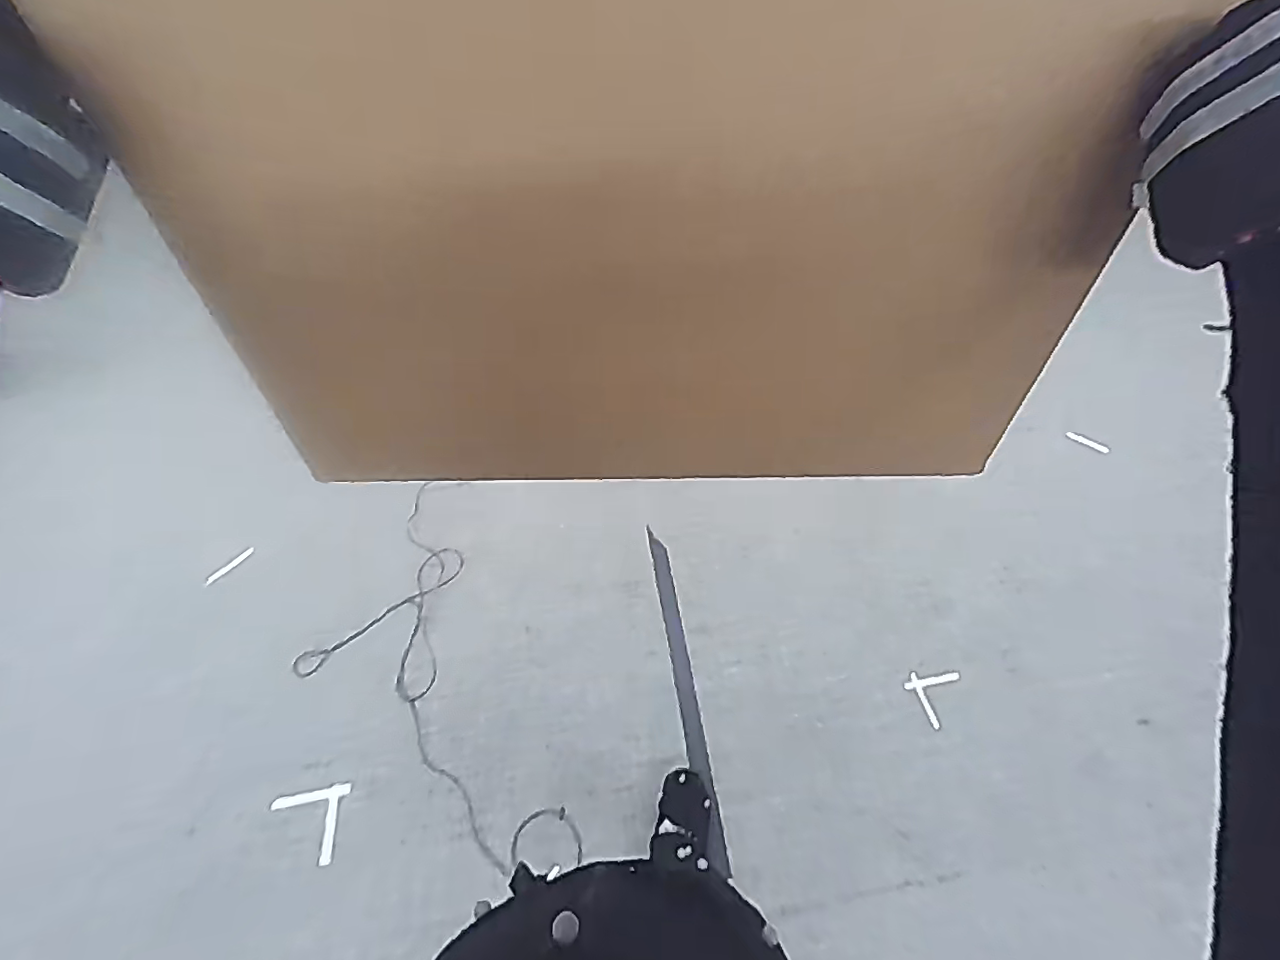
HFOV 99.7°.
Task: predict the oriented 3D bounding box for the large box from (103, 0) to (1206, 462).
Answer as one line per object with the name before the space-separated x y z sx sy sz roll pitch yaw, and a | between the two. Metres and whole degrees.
large box | 0.004 -0.224 0.343 0.408 0.320 0.320 0 45 -1
